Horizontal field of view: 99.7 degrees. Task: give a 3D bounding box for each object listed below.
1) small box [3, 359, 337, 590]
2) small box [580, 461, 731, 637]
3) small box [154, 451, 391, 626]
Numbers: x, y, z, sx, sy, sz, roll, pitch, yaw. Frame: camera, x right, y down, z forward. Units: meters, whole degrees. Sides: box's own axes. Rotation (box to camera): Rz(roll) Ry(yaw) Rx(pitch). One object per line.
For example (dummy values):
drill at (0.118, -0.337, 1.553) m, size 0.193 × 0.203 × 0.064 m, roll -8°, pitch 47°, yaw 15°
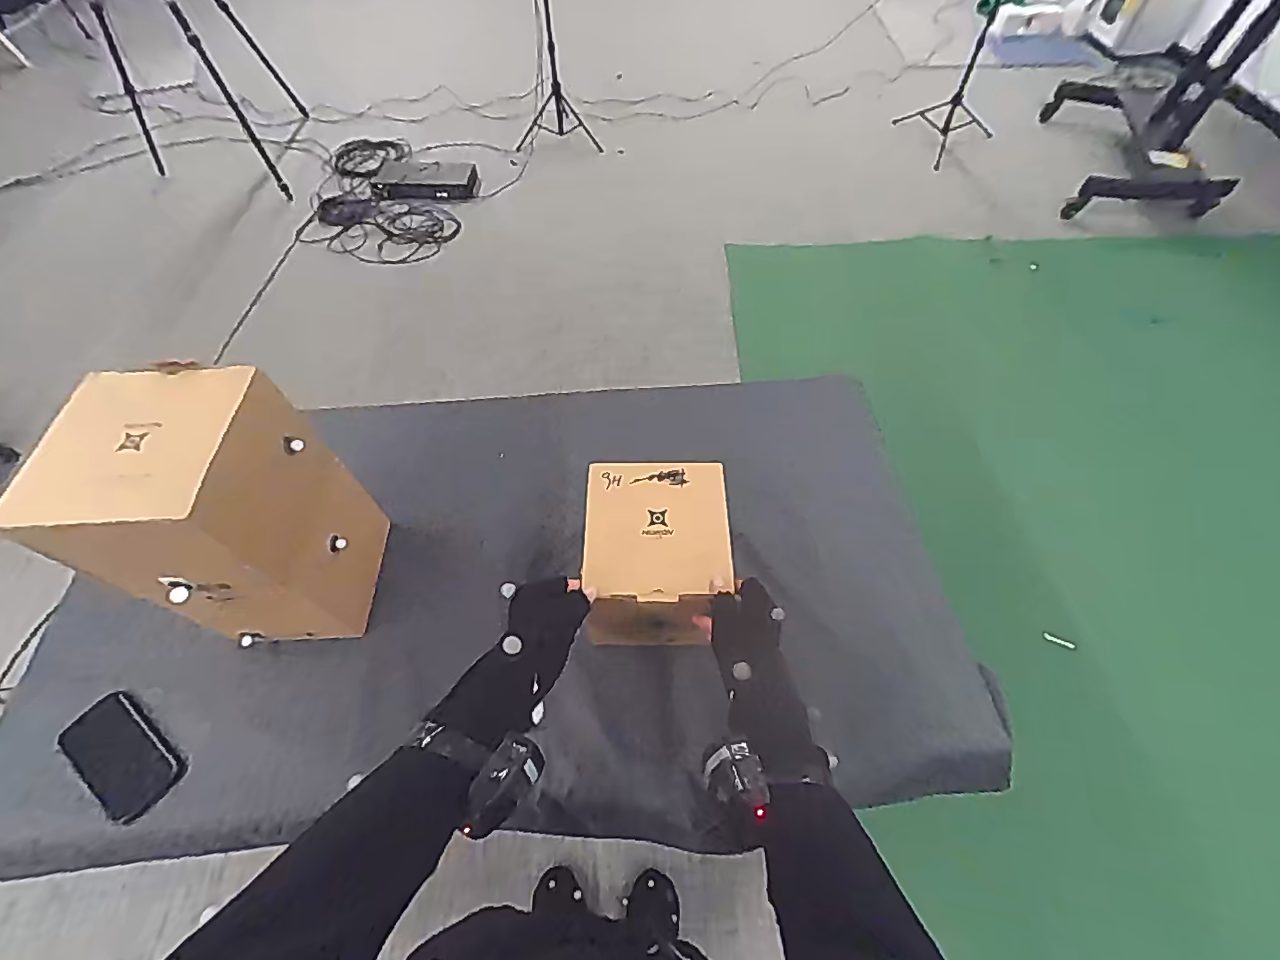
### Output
small box at (-0.445, -0.001, 0.556) m, size 0.168 × 0.176 × 0.179 m, roll -3°, pitch 58°, yaw -1°
small box at (0.021, 0.093, 0.685) m, size 0.168 × 0.176 × 0.179 m, roll 0°, pitch 57°, yaw 1°
small box at (-0.445, 0.082, 0.695) m, size 0.168 × 0.176 × 0.179 m, roll -2°, pitch 56°, yaw -1°
